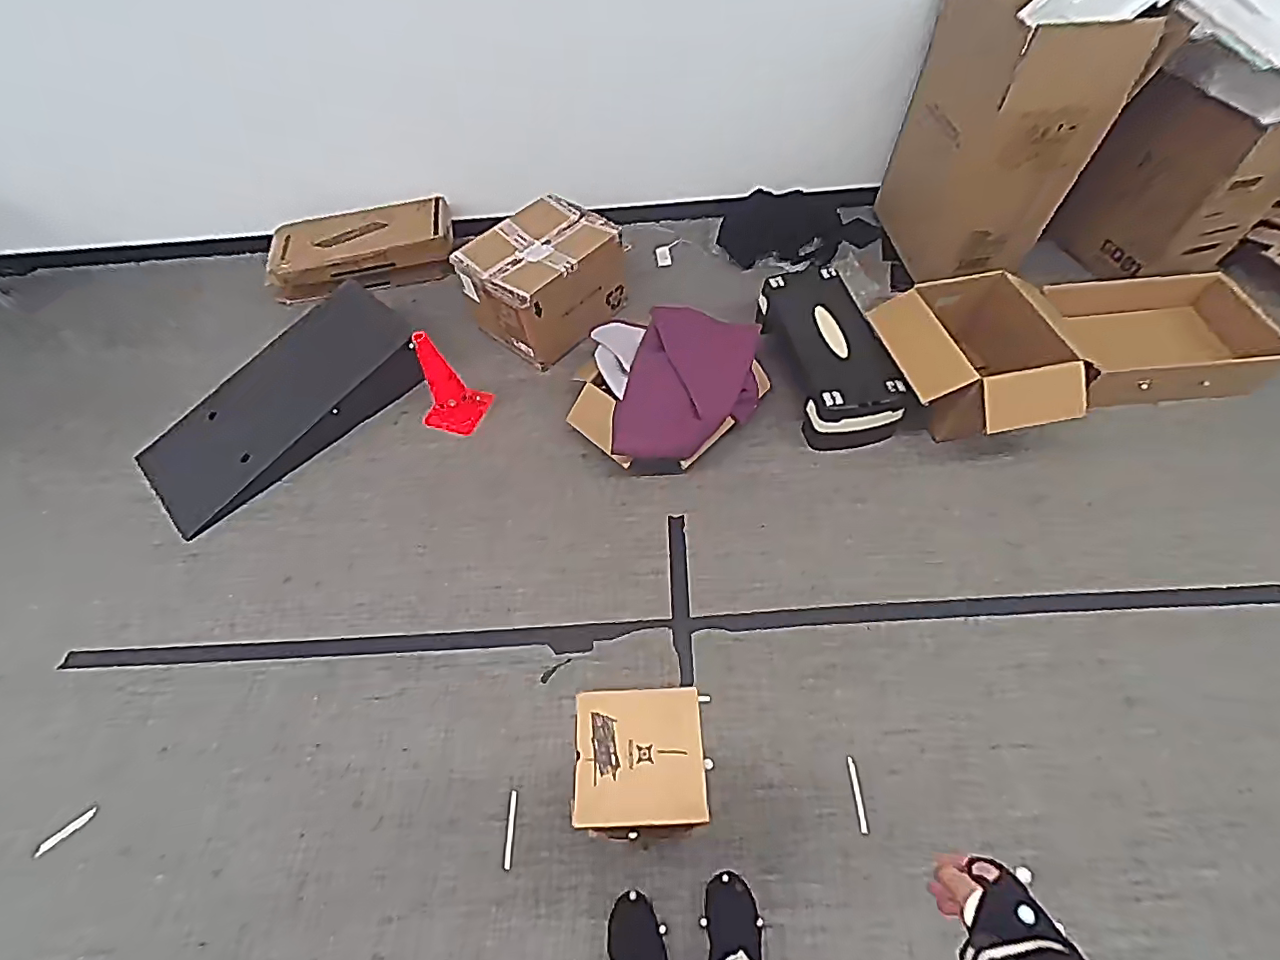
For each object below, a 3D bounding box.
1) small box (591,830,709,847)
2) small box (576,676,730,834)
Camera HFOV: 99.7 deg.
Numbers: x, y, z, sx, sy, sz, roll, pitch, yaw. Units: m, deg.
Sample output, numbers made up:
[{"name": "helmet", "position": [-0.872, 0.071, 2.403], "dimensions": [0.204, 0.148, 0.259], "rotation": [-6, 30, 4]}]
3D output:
[{"name": "small box", "position": [0.020, 0.464, 0.847], "dimensions": [0.168, 0.176, 0.179], "rotation": [-3, 58, 3]}, {"name": "small box", "position": [0.018, 0.366, 0.713], "dimensions": [0.179, 0.176, 0.168], "rotation": [-4, 57, 2]}]
